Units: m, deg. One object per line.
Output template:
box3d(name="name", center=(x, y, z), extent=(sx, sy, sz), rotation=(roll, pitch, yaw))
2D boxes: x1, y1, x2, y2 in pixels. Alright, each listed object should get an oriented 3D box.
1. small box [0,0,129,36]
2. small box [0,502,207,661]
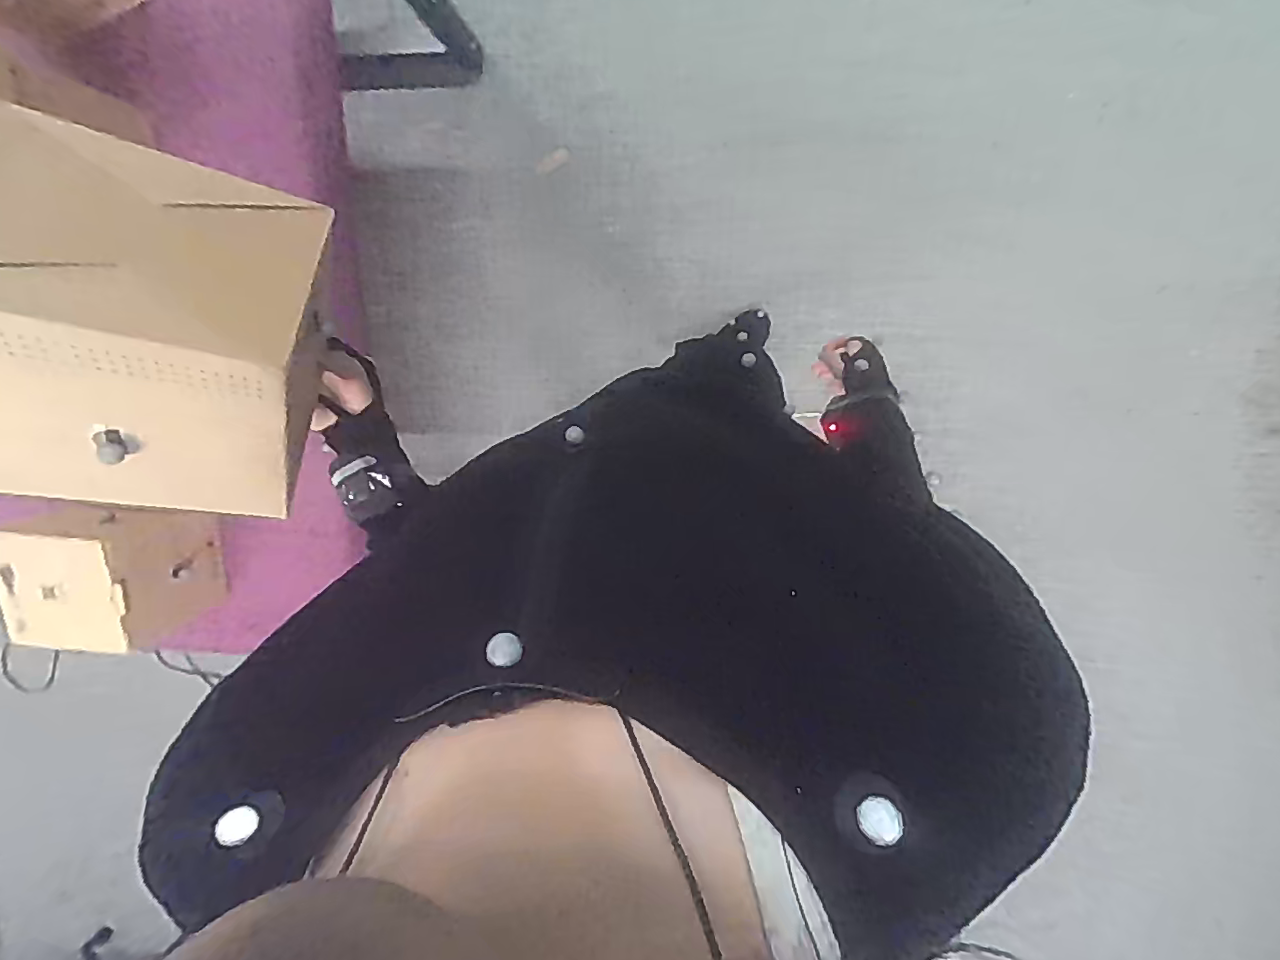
box3d(name="small box", center=(-0.713, -0.626, 0.577), extent=(0.168, 0.176, 0.179), rotation=(-17, 102, 9))
box3d(name="small box", center=(-0.763, 0.135, 0.771), extent=(0.179, 0.176, 0.168), rotation=(4, 104, 2))
